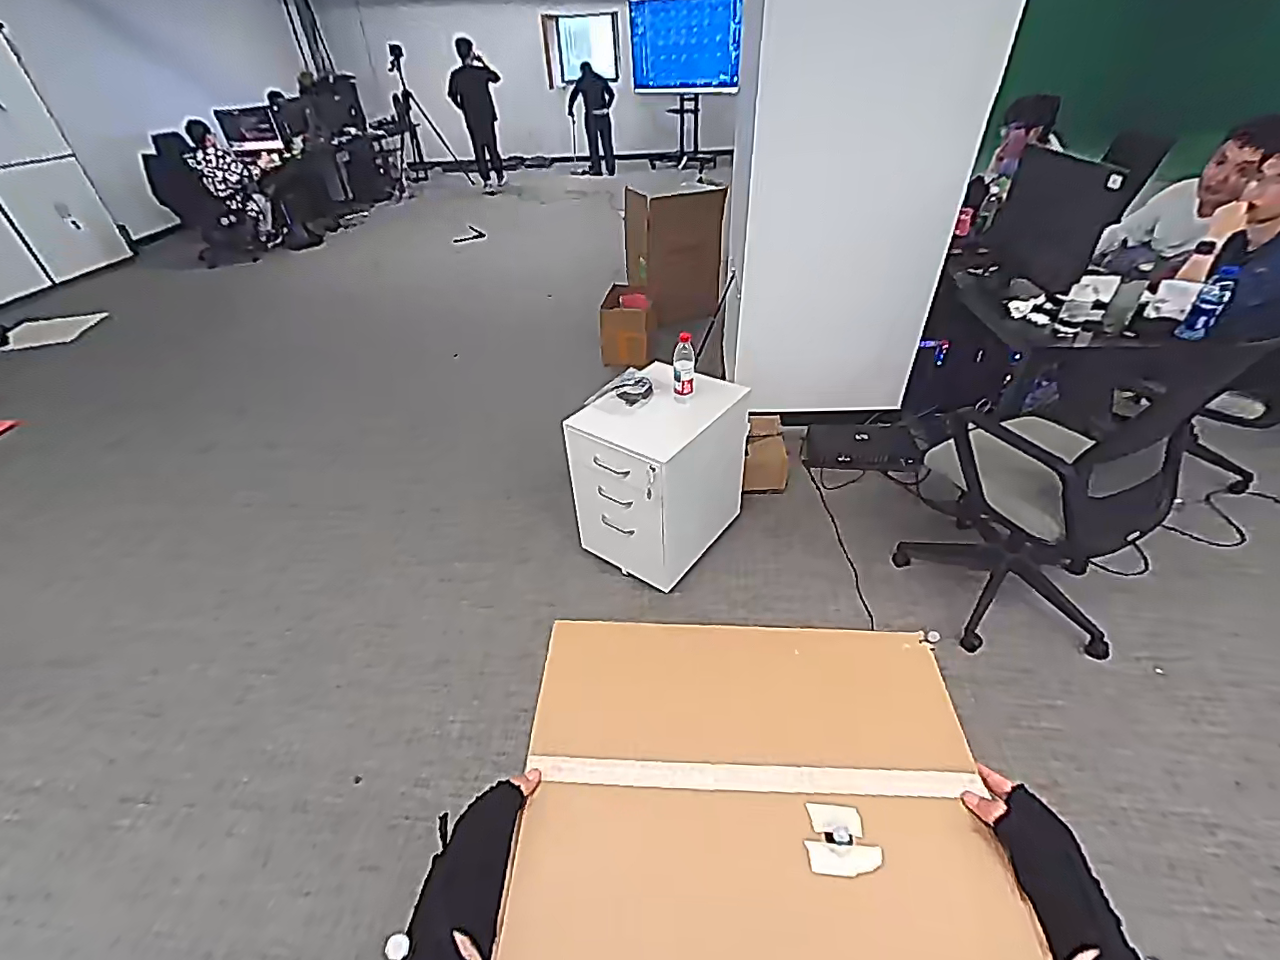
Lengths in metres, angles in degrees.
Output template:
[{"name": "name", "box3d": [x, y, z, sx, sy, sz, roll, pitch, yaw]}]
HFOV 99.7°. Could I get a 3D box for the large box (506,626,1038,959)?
[{"name": "large box", "box3d": [0.102, 0.382, 0.593, 0.408, 0.320, 0.320, 2, 43, 3]}]
